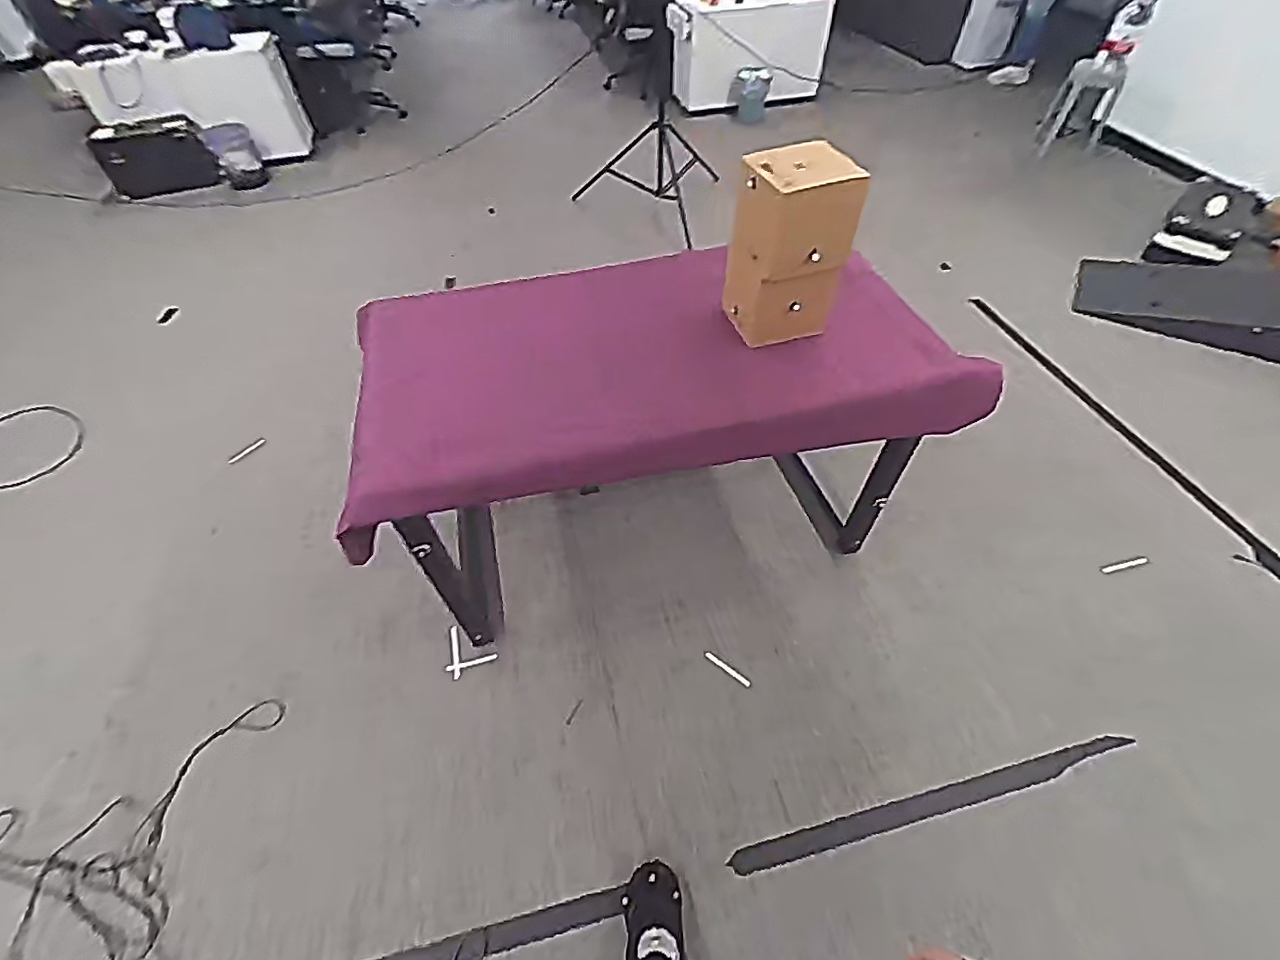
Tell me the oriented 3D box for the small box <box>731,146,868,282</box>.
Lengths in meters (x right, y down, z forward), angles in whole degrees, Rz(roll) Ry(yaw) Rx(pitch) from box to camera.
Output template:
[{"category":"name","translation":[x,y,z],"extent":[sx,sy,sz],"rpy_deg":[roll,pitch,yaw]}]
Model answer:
[{"category":"small box","translation":[0.290,-0.504,1.029],"extent":[0.179,0.176,0.168],"rpy_deg":[-16,52,-11]}]
